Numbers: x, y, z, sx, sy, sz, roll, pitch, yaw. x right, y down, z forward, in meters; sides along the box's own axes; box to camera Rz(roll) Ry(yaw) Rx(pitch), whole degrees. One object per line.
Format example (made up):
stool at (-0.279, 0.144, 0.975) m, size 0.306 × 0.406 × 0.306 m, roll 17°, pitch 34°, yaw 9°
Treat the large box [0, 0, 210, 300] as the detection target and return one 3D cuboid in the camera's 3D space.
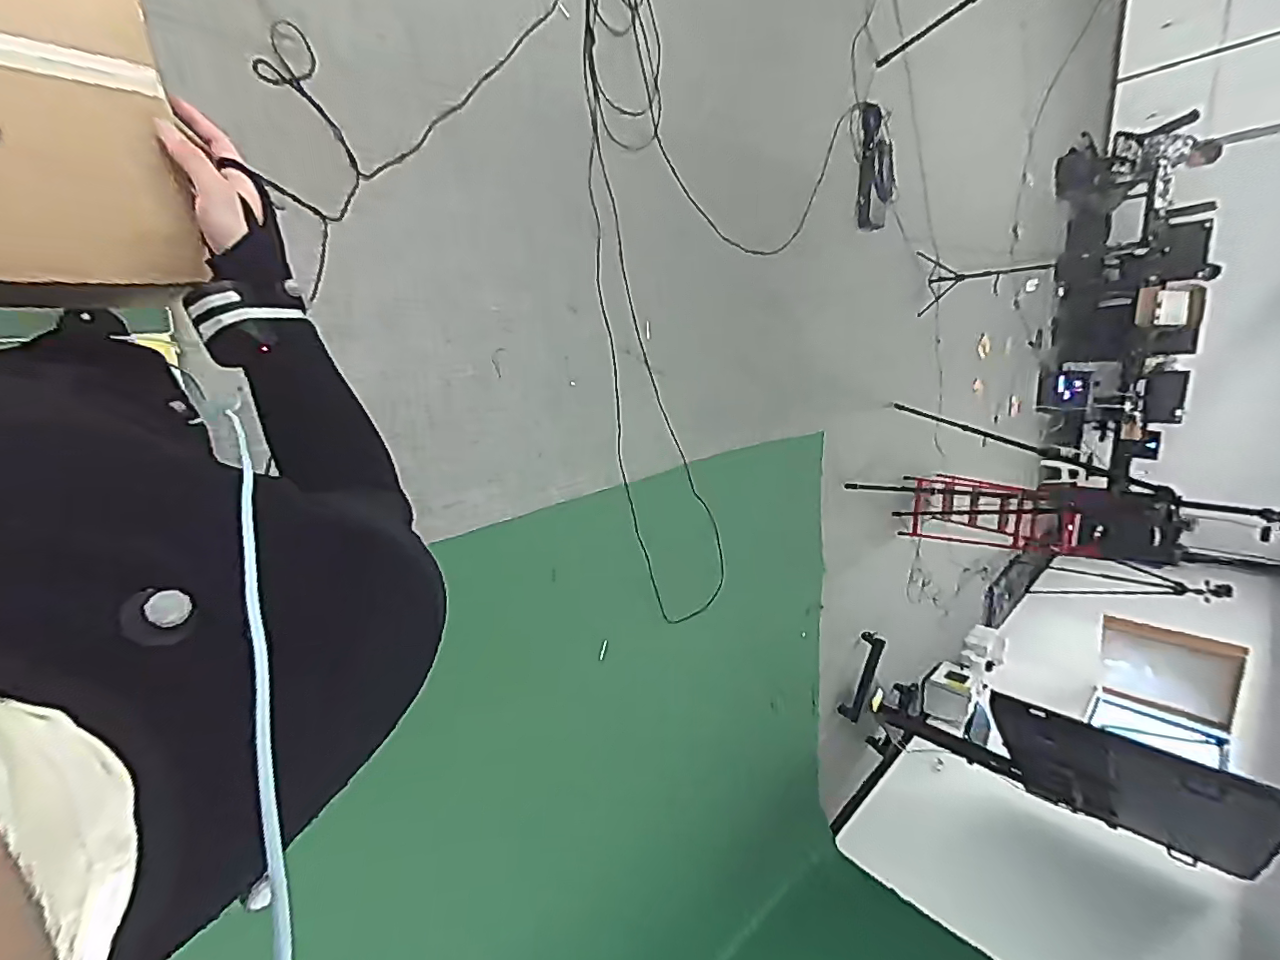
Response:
large box at (-0.652, -0.311, 0.425) m, size 0.408 × 0.320 × 0.320 m, roll -19°, pitch 113°, yaw -44°
